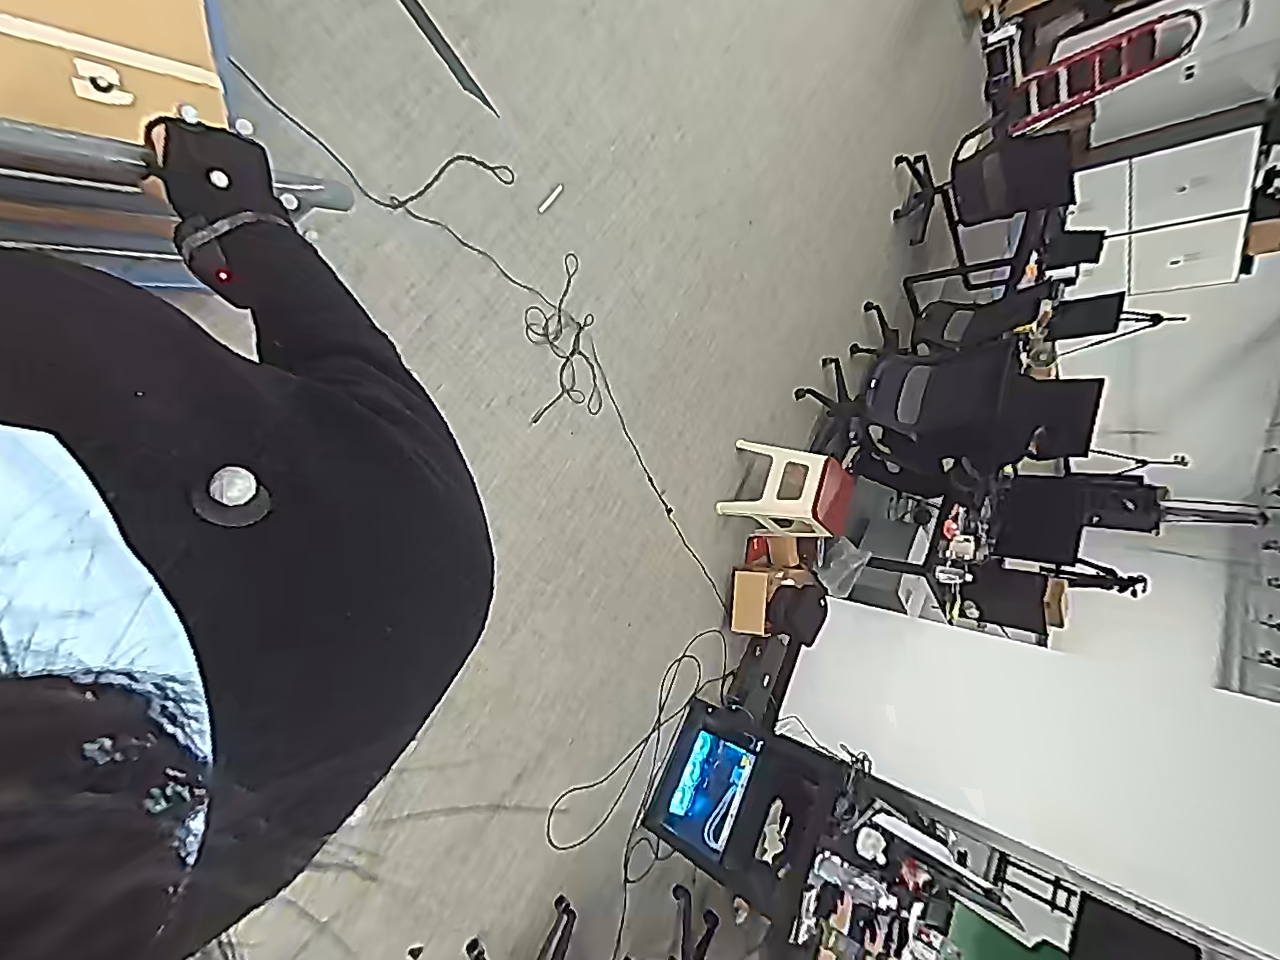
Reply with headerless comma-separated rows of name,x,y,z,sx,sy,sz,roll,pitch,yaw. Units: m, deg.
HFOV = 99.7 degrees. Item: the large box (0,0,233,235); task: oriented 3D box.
large box,-0.888,-0.572,0.776,0.408,0.320,0.320,-15,105,-45
